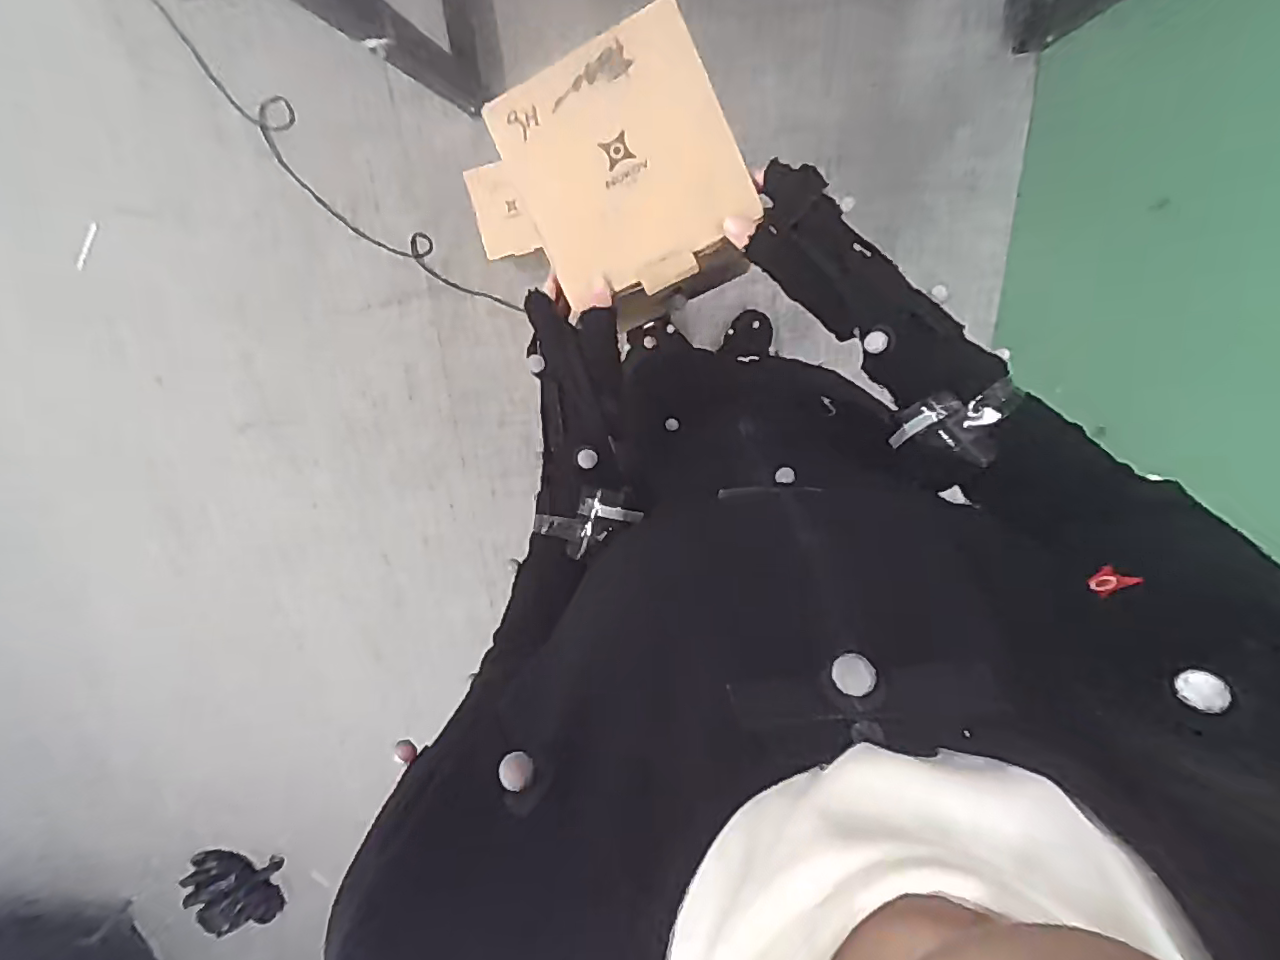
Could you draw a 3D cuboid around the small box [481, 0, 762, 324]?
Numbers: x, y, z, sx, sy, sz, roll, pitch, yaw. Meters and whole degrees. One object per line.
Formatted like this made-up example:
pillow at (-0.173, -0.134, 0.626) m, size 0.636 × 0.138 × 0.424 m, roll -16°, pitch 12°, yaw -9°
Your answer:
small box at (-0.003, -0.255, 0.488) m, size 0.168 × 0.176 × 0.179 m, roll -26°, pitch 95°, yaw 12°
